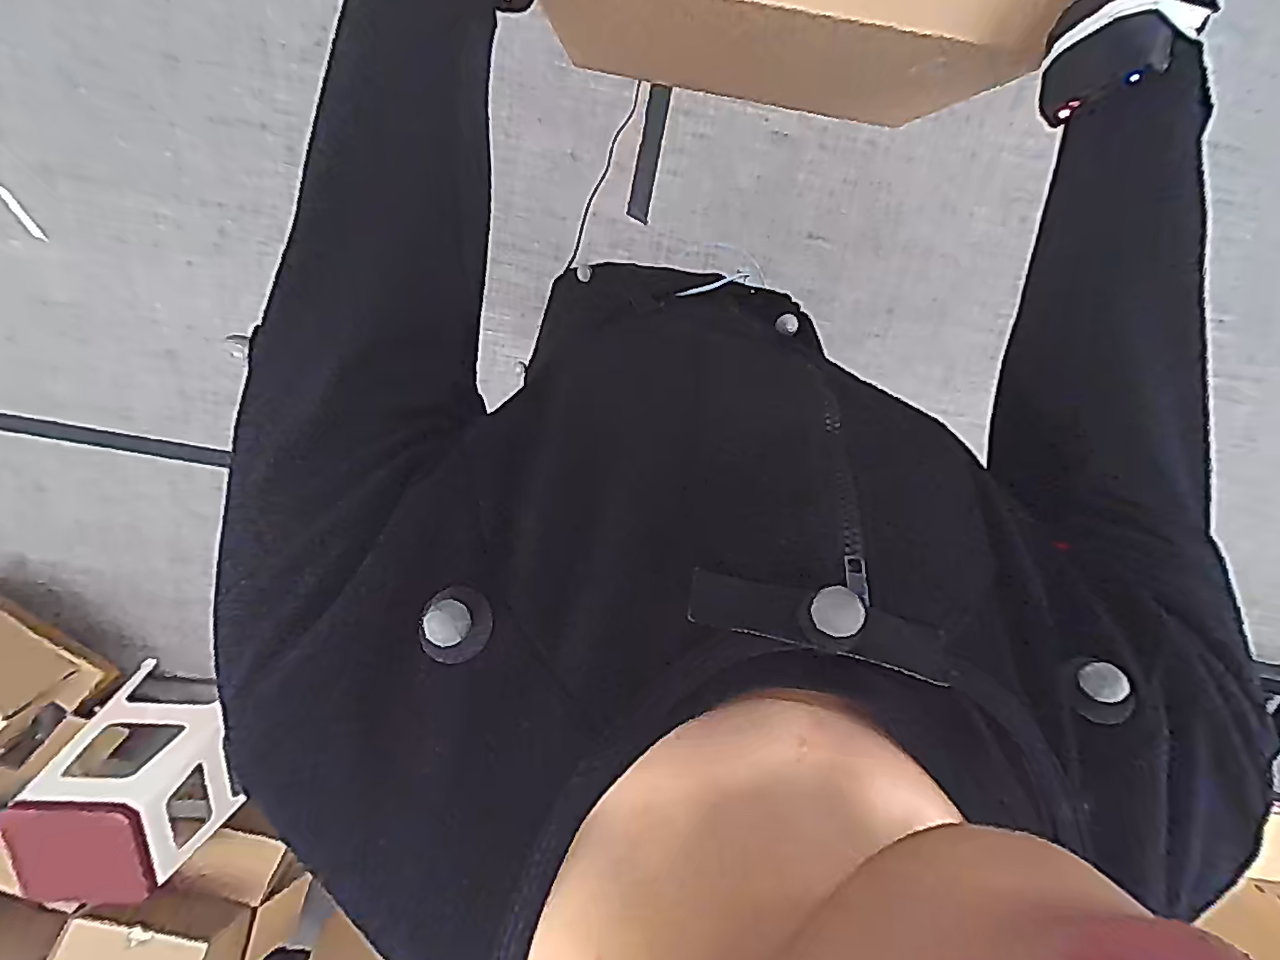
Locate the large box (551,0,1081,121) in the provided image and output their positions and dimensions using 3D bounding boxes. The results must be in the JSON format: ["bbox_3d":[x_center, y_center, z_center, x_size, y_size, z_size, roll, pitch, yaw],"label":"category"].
[{"bbox_3d":[0.138,-0.540,0.459,0.408,0.320,0.320,9,116,-3],"label":"large box"}]
